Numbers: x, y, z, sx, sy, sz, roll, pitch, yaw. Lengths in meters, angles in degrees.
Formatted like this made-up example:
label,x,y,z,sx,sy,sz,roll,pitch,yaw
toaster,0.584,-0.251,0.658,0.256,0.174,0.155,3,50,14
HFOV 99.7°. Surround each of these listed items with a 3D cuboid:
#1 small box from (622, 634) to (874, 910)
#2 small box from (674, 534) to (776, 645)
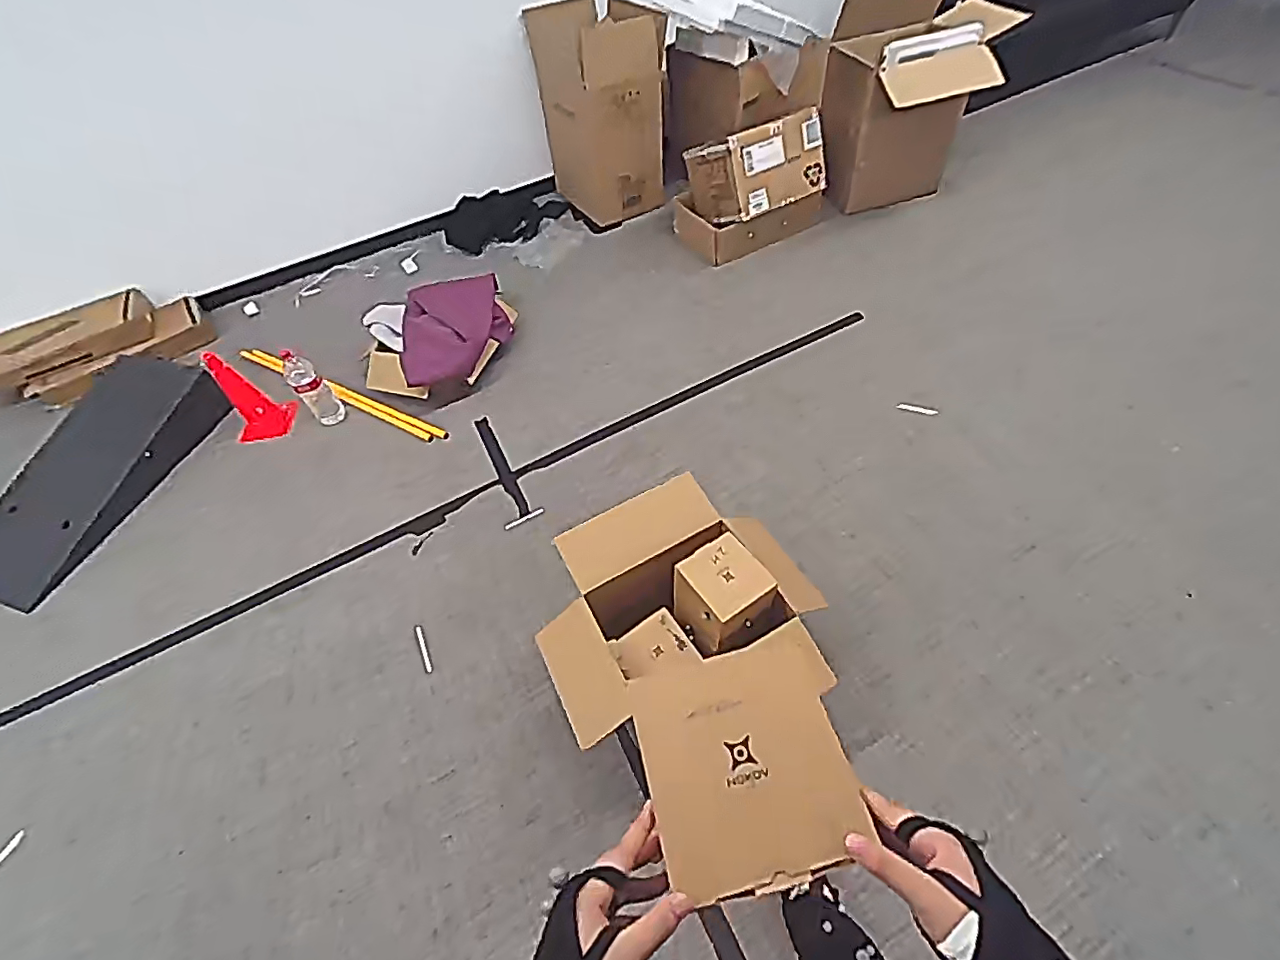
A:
label,x,y,z,sx,sy,sz,roll,pitch,yaw
small box,0.088,0.278,0.517,0.168,0.176,0.179,-14,52,-6
small box,0.197,0.269,1.289,0.168,0.176,0.179,-29,56,-19
